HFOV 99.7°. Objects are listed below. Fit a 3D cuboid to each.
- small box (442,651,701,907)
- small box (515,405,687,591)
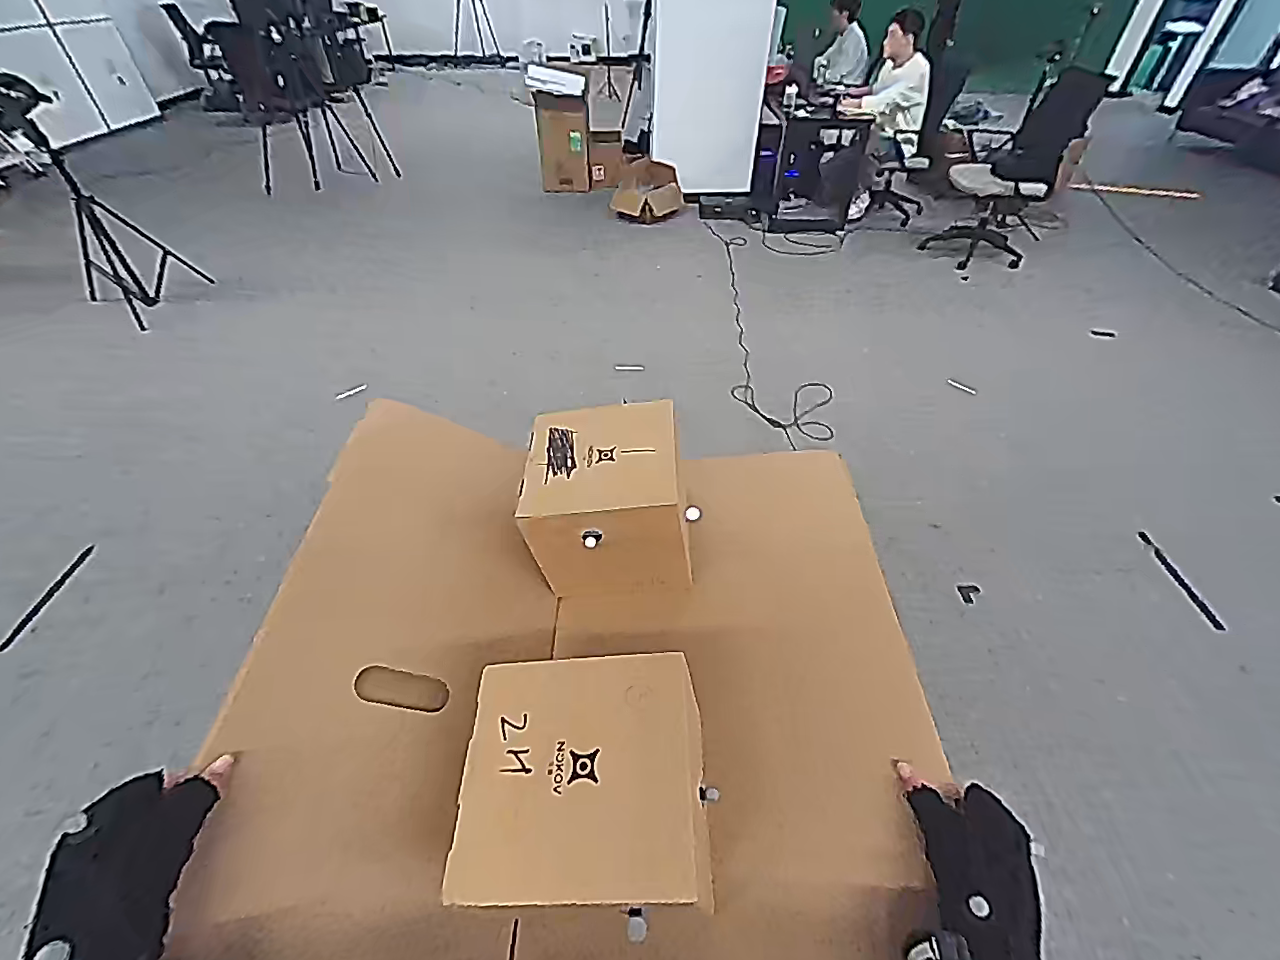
[{"bbox_3d":[-0.039,0.266,0.478,0.179,0.176,0.168,-6,48,8],"label":"small box"},{"bbox_3d":[-0.038,0.029,0.687,0.179,0.176,0.168,-5,48,7],"label":"small box"}]
